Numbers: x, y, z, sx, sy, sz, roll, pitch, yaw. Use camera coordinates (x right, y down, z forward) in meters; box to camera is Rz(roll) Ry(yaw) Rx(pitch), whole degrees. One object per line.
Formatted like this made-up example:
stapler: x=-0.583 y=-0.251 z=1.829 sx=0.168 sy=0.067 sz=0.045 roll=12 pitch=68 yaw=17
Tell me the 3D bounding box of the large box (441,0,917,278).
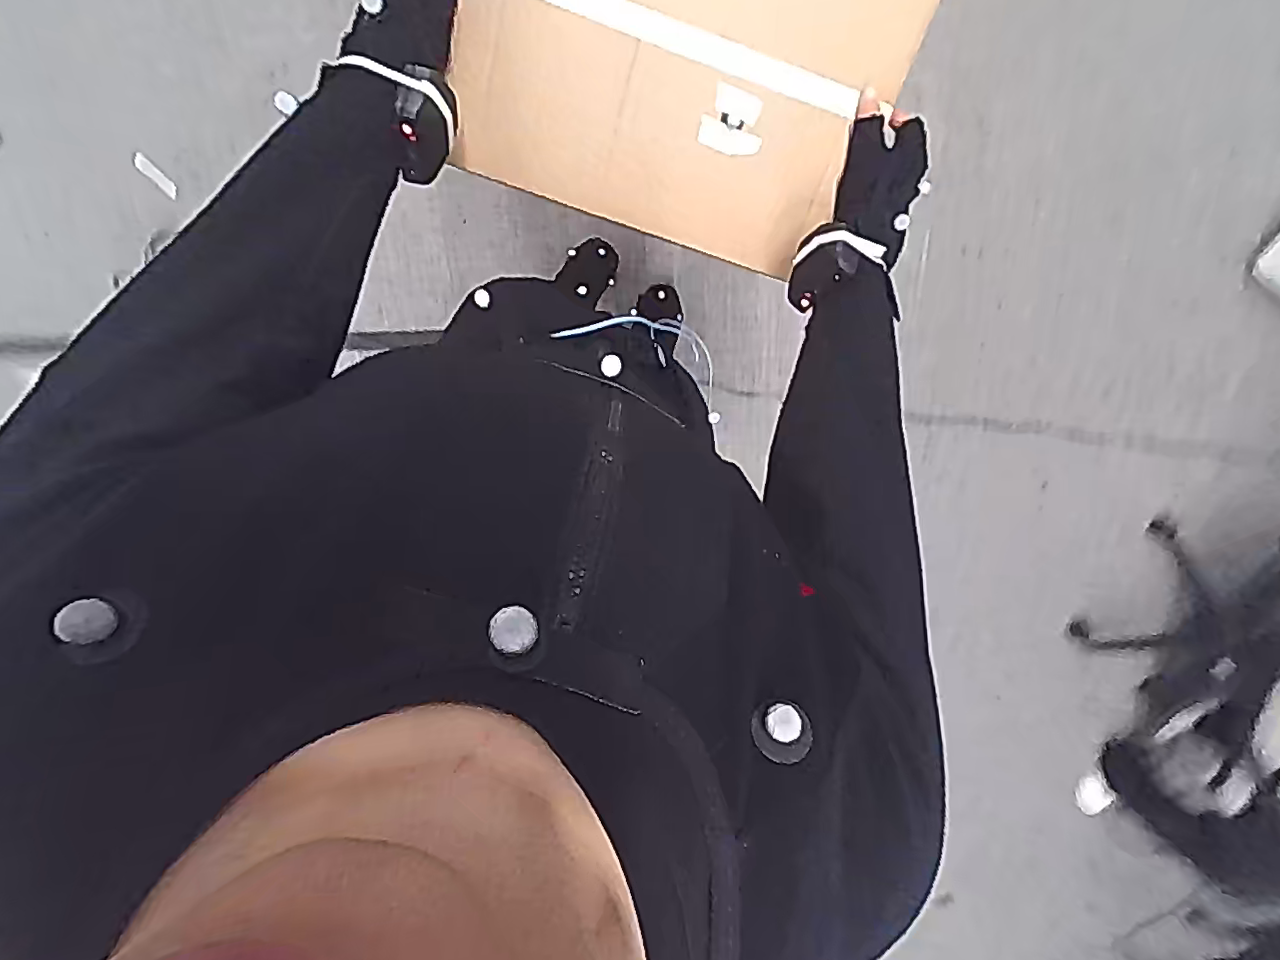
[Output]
large box: x=0.027 y=-0.456 z=0.628 sx=0.408 sy=0.320 sz=0.320 roll=14 pitch=116 yaw=-8
